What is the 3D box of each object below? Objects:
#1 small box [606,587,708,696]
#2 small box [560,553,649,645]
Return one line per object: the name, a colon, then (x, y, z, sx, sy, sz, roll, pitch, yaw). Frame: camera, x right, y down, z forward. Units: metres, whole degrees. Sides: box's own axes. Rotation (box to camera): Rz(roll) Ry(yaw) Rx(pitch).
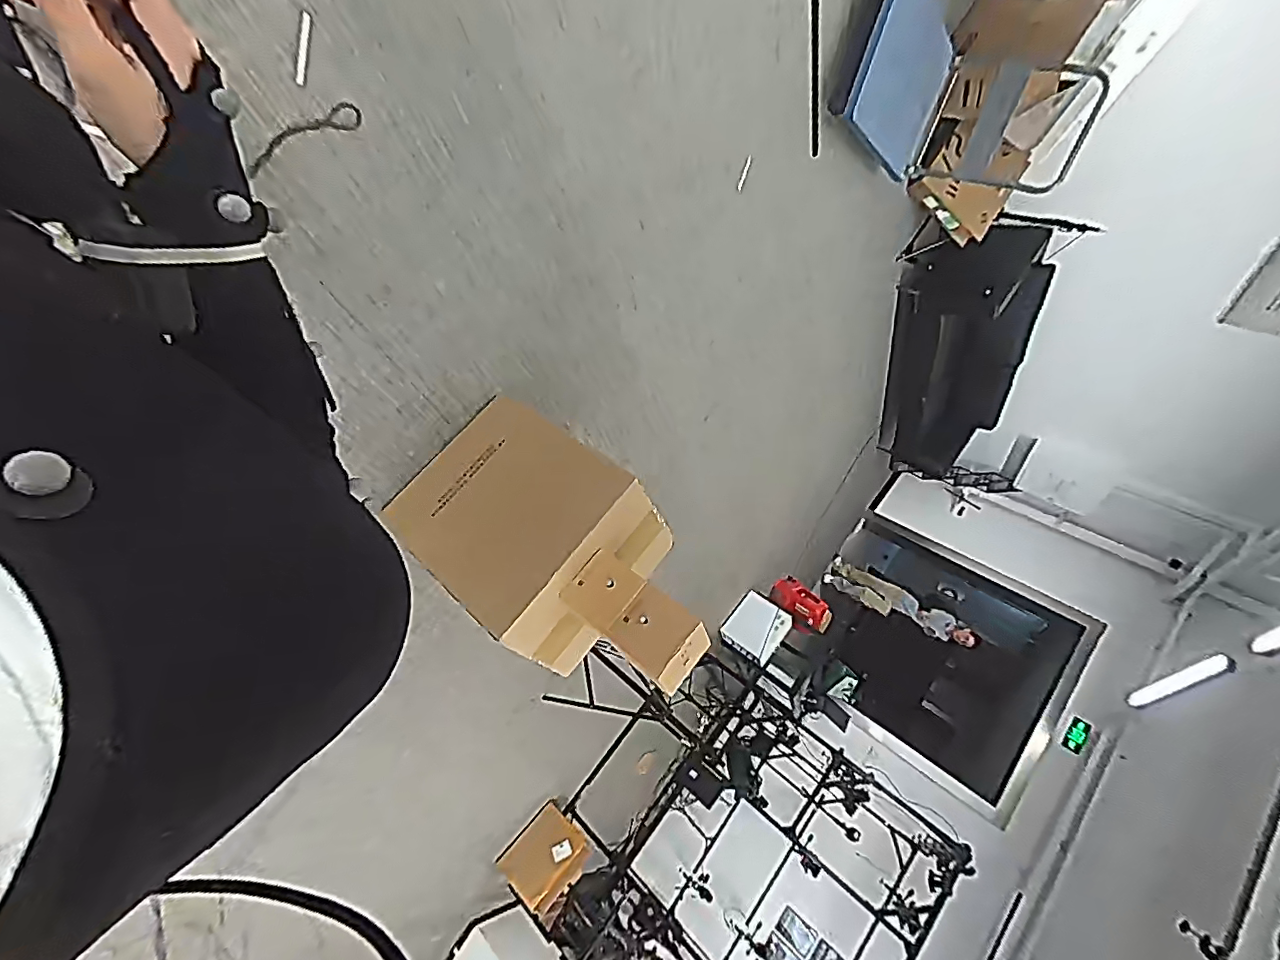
small box: (0.043, 0.390, 1.318, 0.168, 0.176, 0.179, -49, 147, -19)
small box: (-0.079, 0.313, 1.398, 0.168, 0.176, 0.179, -49, 148, -17)
